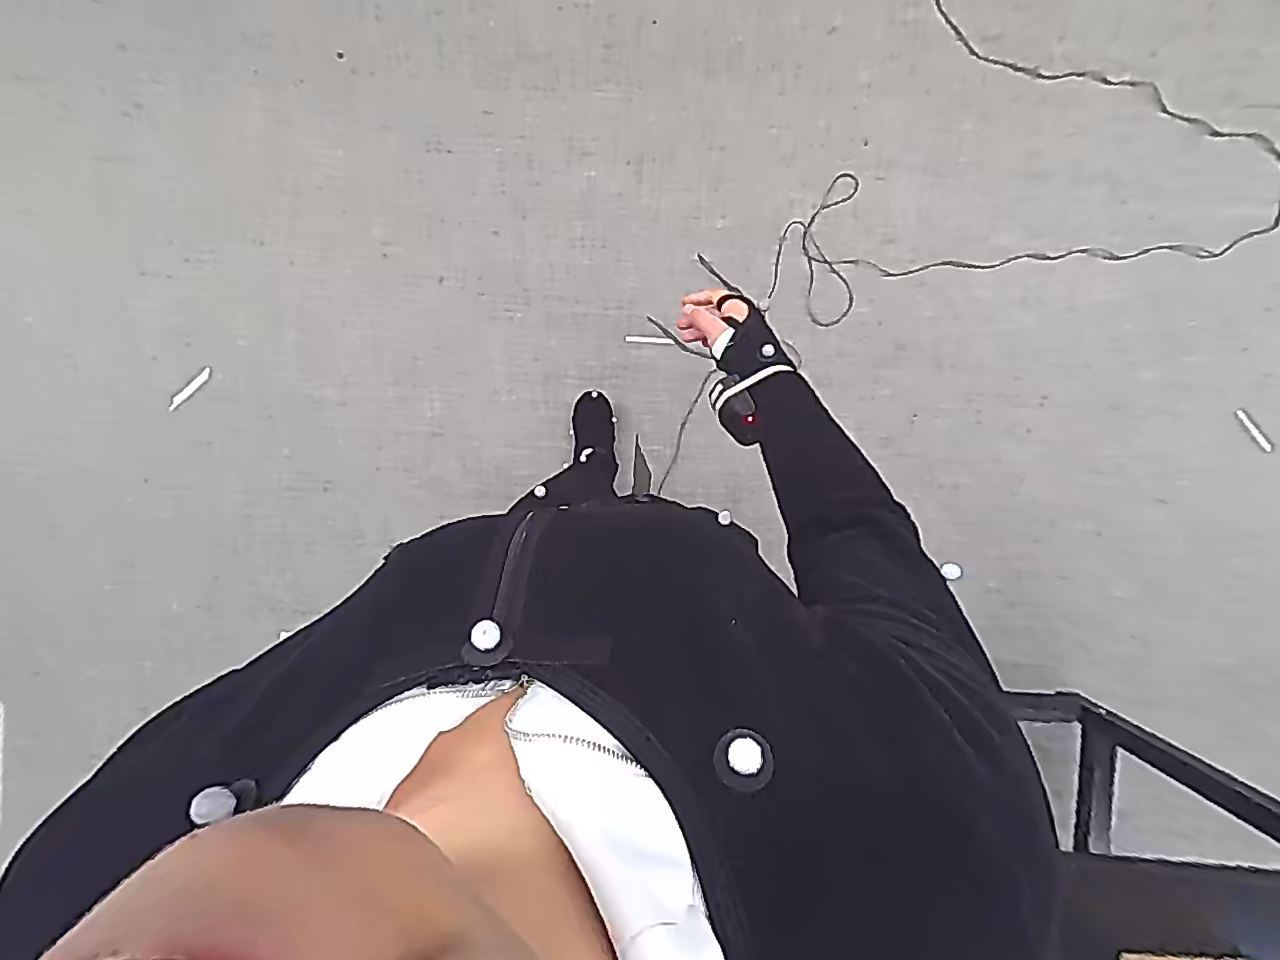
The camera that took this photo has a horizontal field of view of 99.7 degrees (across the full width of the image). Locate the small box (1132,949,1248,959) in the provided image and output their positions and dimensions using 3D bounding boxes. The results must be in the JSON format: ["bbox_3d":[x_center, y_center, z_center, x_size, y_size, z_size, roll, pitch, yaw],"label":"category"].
[{"bbox_3d":[0.735,0.725,0.660,0.179,0.176,0.168,1,91,2],"label":"small box"}]
